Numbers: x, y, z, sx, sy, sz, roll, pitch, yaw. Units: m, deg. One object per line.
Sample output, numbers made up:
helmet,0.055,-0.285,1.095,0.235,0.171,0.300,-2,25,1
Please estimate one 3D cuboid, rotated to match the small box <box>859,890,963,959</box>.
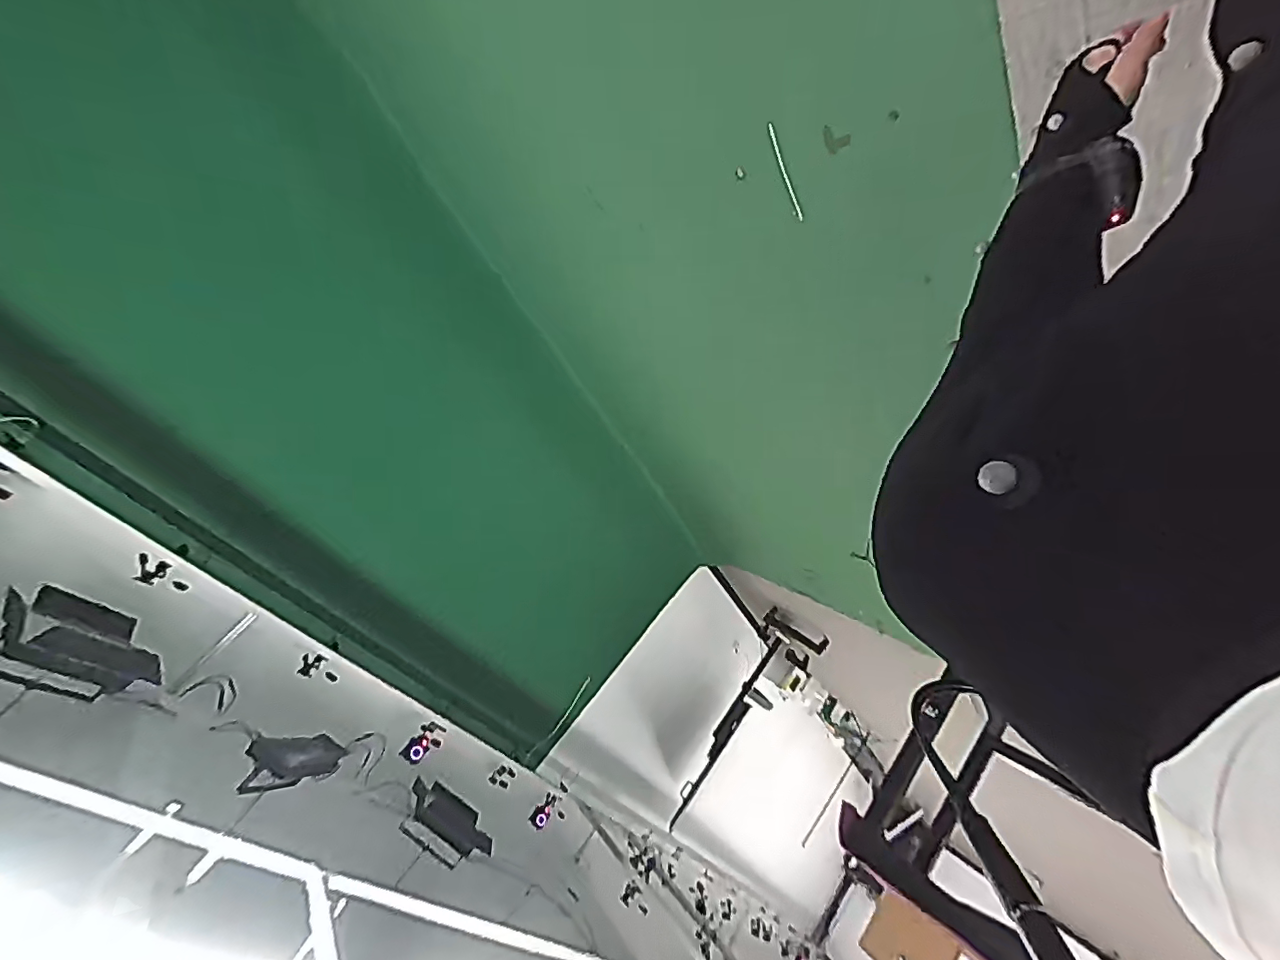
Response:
small box,0.686,1.185,1.355,0.179,0.176,0.168,20,151,48
